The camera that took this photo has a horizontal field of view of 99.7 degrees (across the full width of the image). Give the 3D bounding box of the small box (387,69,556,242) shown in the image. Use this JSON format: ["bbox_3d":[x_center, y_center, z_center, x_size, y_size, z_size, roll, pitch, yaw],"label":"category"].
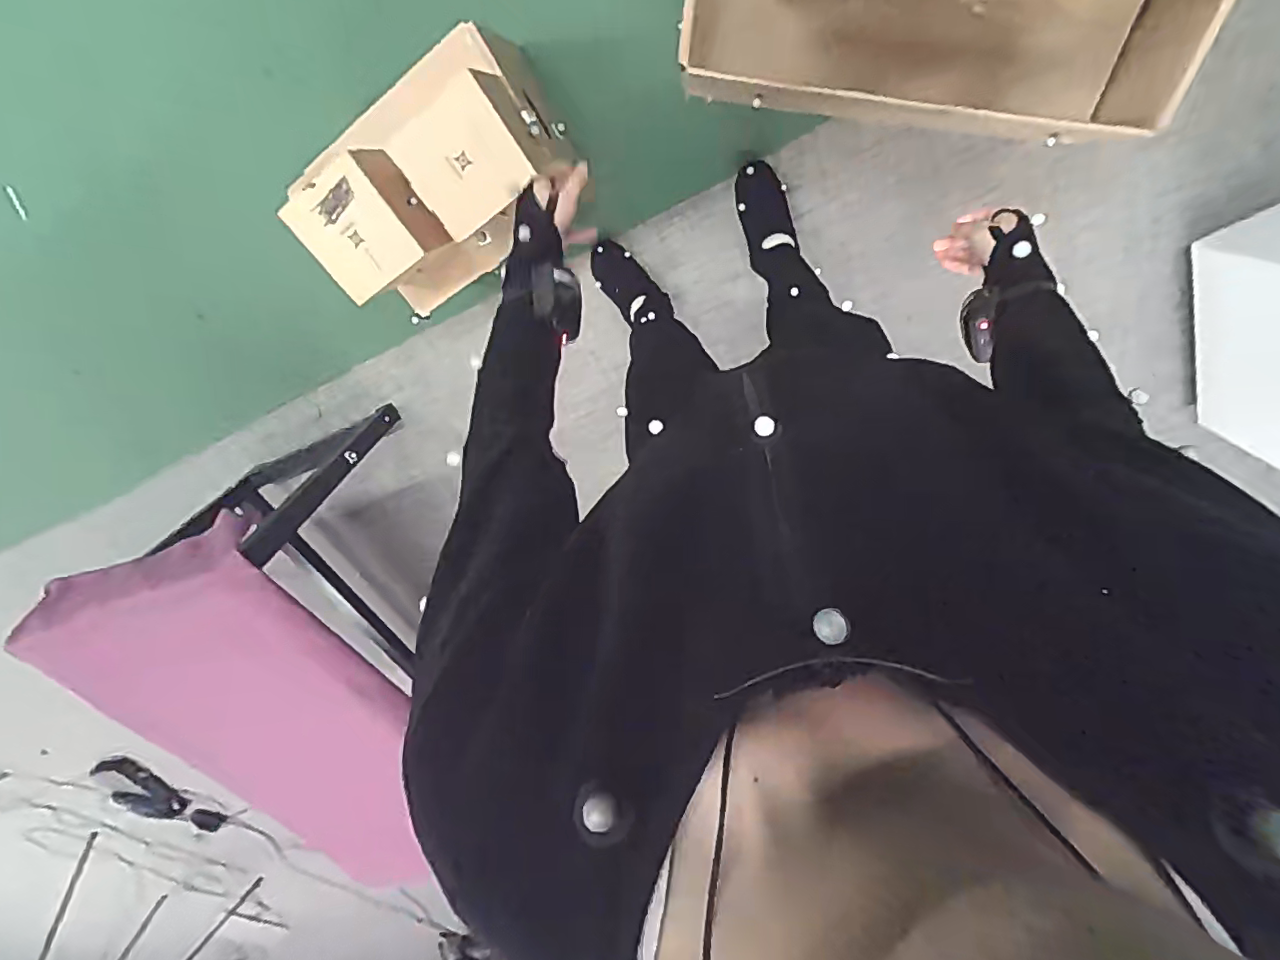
[{"bbox_3d":[-0.260,-0.520,0.878,0.179,0.176,0.168,-27,118,19],"label":"small box"}]

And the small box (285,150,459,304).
[{"bbox_3d":[-0.453,-0.441,0.943,0.168,0.176,0.179,-26,117,19],"label":"small box"}]
